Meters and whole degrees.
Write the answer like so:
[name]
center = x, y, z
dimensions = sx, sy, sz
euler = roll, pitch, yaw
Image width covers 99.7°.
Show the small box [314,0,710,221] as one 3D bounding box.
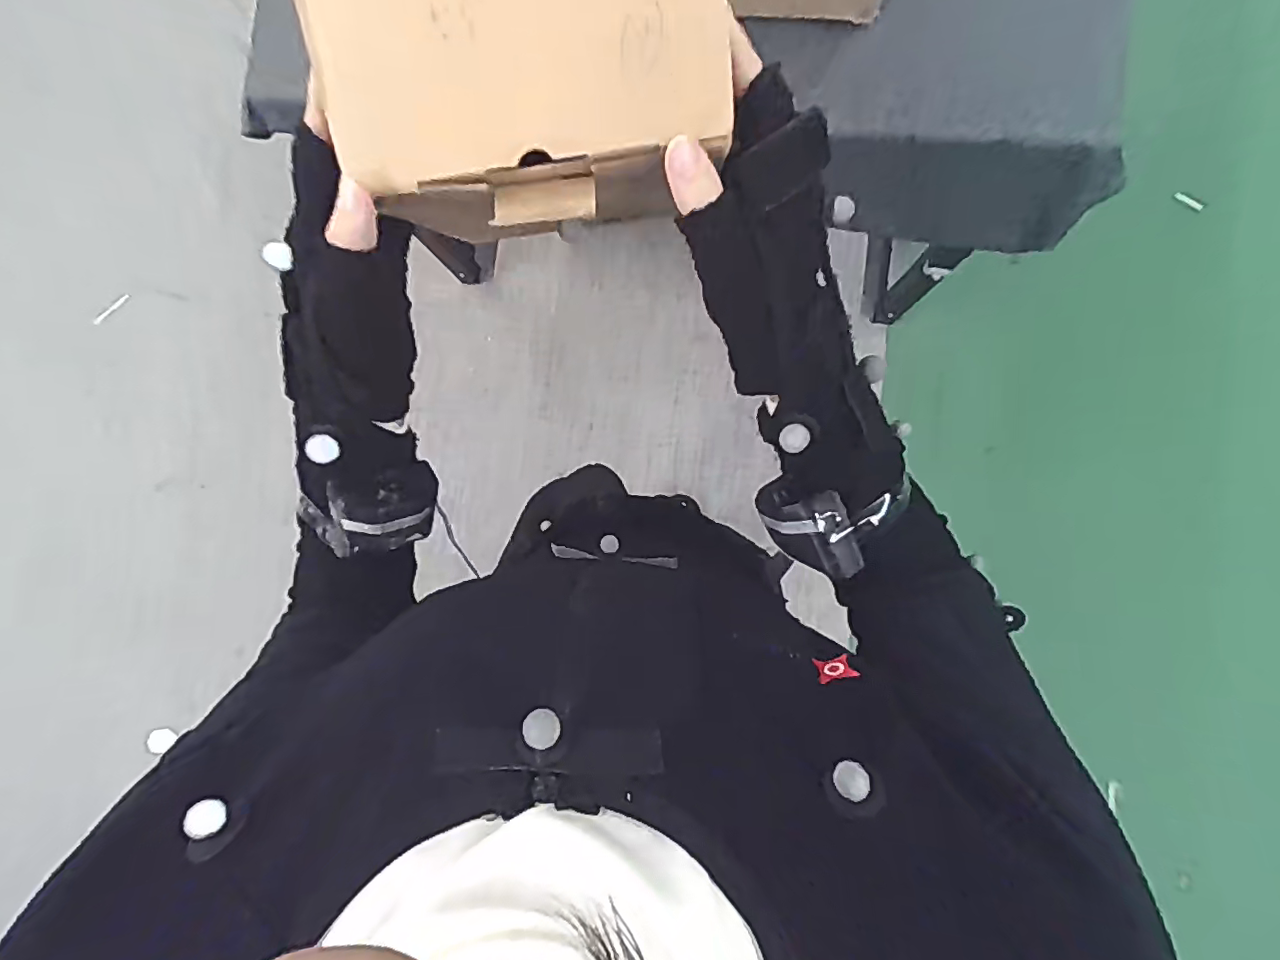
[small box]
center = -0.055, -0.250, 0.294
dimensions = 0.168, 0.176, 0.179
euler = -8, 108, 5
